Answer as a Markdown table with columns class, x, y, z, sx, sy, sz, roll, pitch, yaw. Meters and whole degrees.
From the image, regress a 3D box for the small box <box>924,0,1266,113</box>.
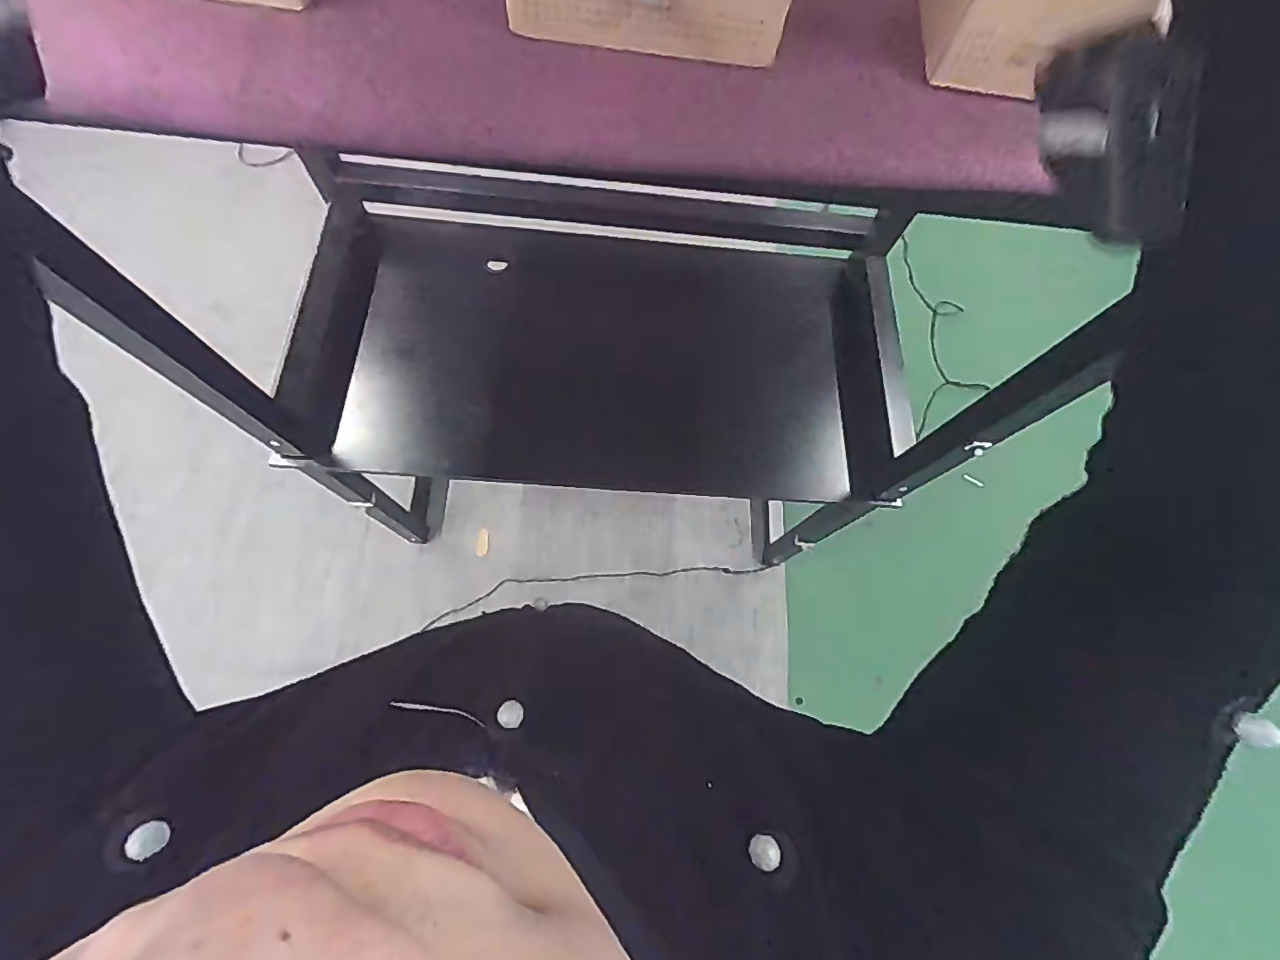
| class | x | y | z | sx | sy | sz | roll | pitch | yaw |
| --- | --- | --- | --- | --- | --- | --- | --- | --- | --- |
| small box | 0.293 | -0.362 | 0.322 | 0.168 | 0.176 | 0.179 | 8 | 69 | -2 |
